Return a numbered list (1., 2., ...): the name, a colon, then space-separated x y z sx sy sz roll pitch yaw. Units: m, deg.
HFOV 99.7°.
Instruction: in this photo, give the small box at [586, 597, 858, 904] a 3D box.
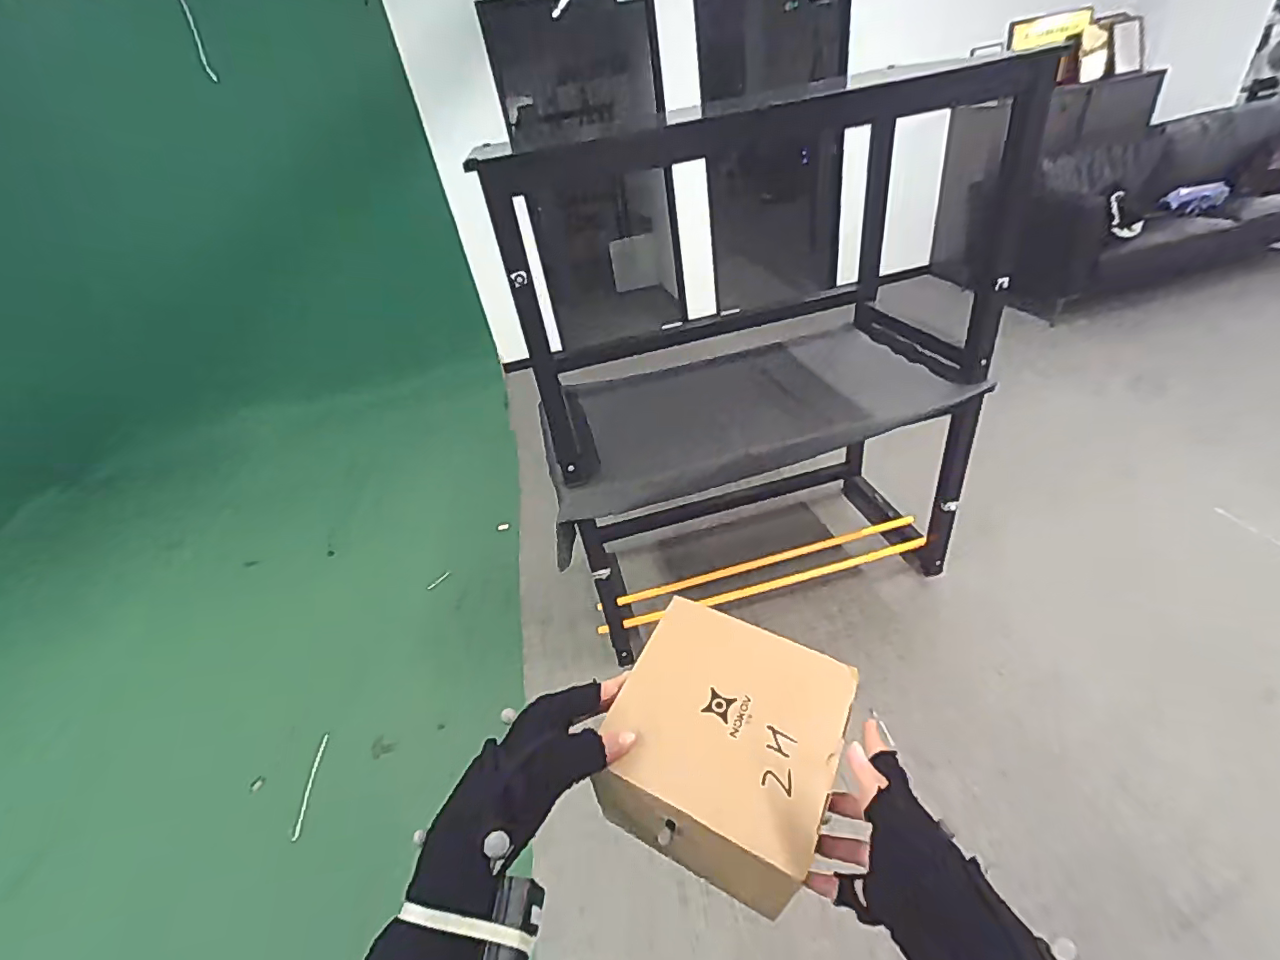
1. small box: 0.074 0.244 0.493 0.179 0.176 0.168 19 49 21
